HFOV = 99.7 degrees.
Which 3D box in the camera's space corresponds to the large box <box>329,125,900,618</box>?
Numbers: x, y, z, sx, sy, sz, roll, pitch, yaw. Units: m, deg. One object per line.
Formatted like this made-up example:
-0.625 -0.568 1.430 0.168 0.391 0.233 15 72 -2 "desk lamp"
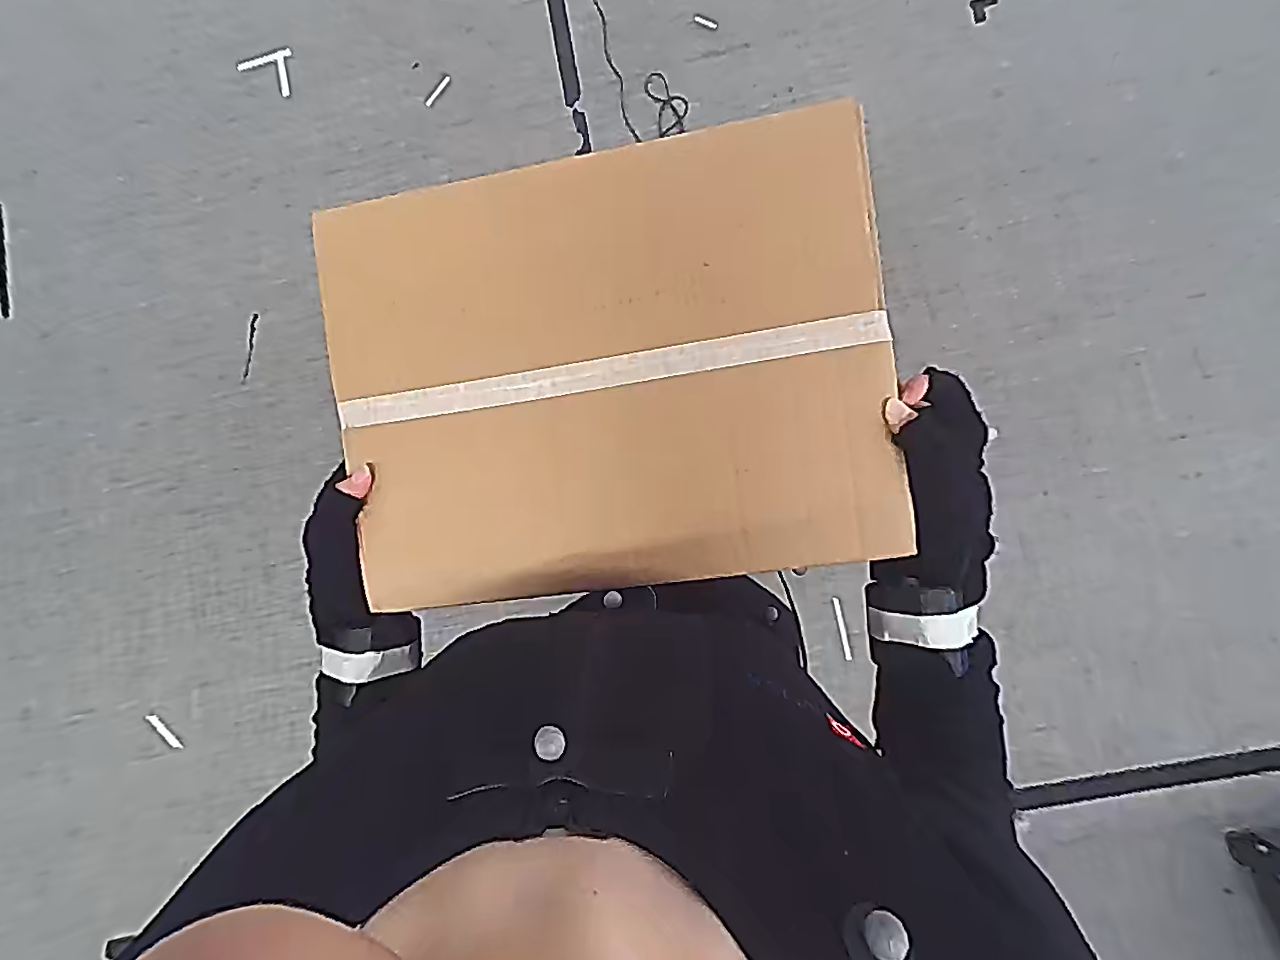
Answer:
-0.011 -0.075 0.551 0.408 0.320 0.320 -8 90 8 "large box"
